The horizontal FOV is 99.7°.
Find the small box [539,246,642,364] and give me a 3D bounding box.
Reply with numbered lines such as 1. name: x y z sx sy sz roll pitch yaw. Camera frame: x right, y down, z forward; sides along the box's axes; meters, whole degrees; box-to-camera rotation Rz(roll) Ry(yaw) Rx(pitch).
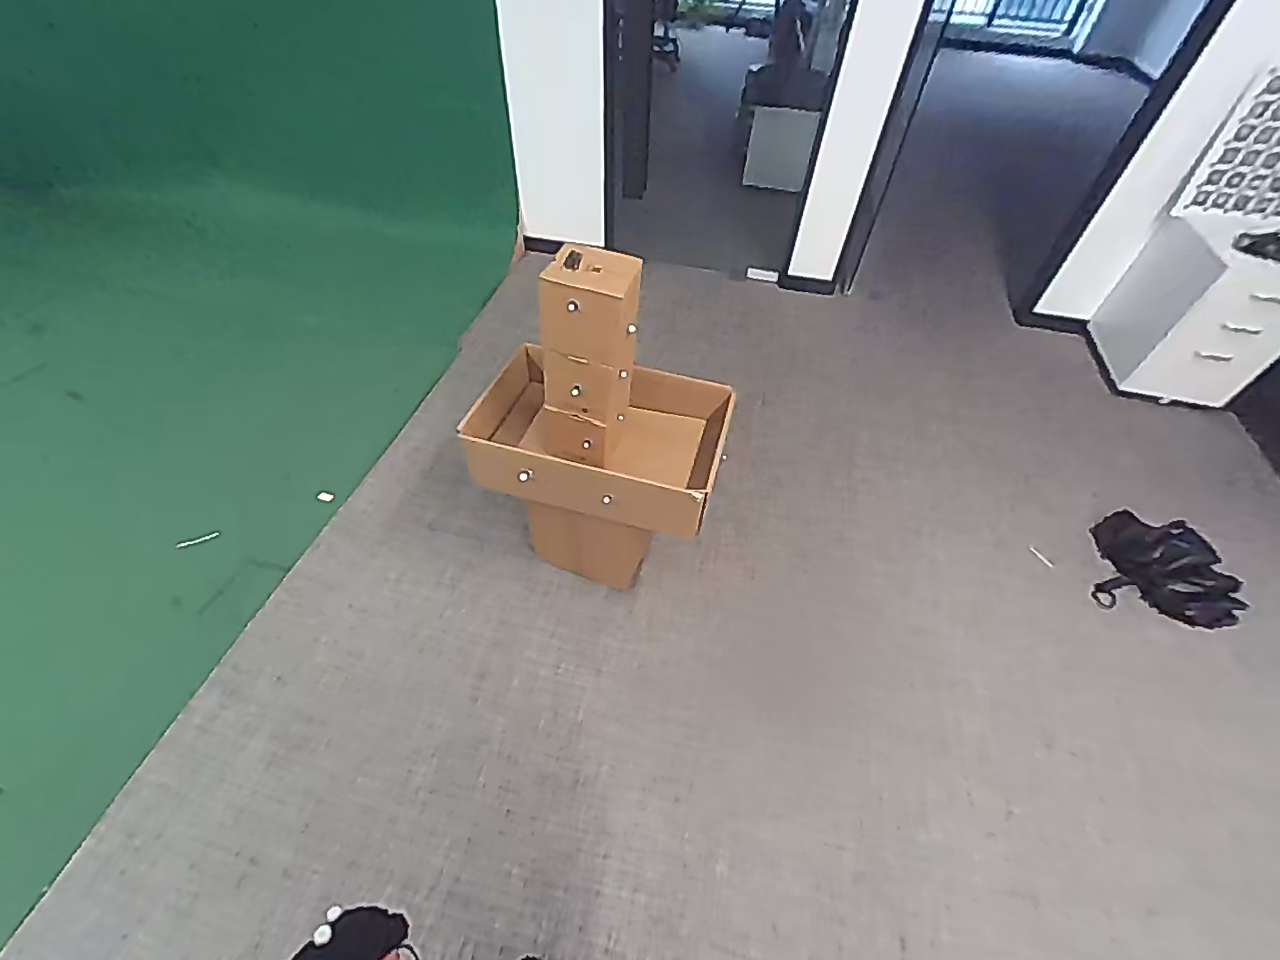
1. small box: -0.106 -0.376 1.171 0.179 0.176 0.168 15 50 5

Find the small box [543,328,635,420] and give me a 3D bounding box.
1. small box: -0.119 -0.270 1.298 0.168 0.176 0.179 17 51 7

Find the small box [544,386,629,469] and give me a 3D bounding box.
1. small box: -0.138 -0.157 1.415 0.168 0.176 0.179 17 48 7
